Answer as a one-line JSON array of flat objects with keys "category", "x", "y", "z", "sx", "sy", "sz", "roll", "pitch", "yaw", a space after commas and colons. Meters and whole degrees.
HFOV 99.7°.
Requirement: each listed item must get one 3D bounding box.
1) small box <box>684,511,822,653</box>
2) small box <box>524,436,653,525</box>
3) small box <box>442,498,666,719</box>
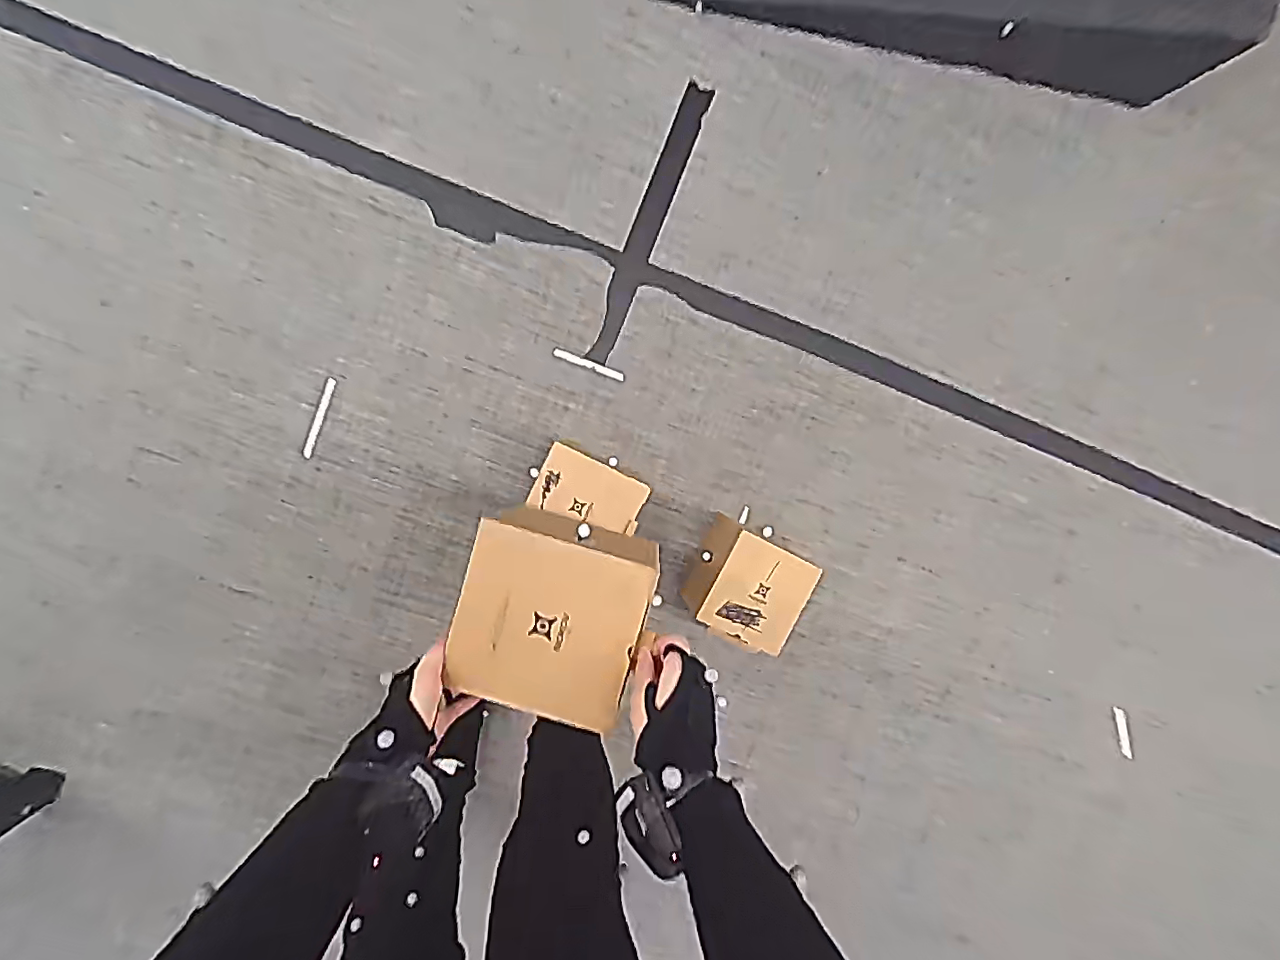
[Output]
[{"category": "small box", "x": 0.194, "y": 0.177, "z": 0.993, "sx": 0.168, "sy": 0.176, "sz": 0.179, "roll": 28, "pitch": 93, "yaw": -9}, {"category": "small box", "x": -0.099, "y": 0.030, "z": 0.943, "sx": 0.179, "sy": 0.176, "sz": 0.168, "roll": 27, "pitch": 94, "yaw": -9}, {"category": "small box", "x": -0.080, "y": 0.121, "z": 0.585, "sx": 0.179, "sy": 0.176, "sz": 0.168, "roll": 17, "pitch": 92, "yaw": 1}]
